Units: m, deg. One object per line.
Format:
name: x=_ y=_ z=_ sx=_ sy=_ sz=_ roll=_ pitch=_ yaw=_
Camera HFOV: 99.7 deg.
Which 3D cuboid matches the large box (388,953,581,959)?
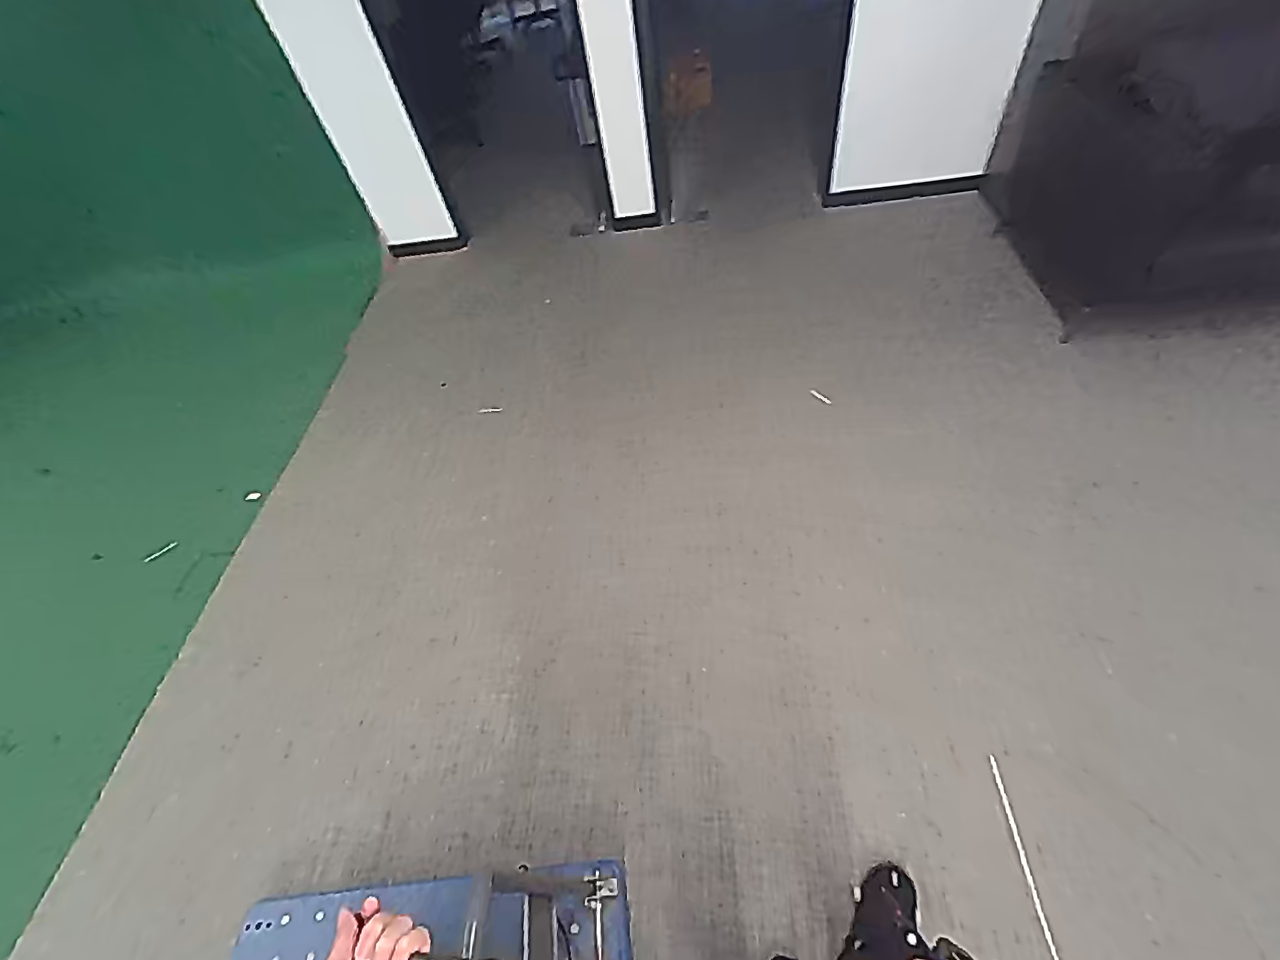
large box: x=-0.329 y=1.010 z=0.899 sx=0.408 sy=0.320 sz=0.320 roll=-5 pitch=52 yaw=7
